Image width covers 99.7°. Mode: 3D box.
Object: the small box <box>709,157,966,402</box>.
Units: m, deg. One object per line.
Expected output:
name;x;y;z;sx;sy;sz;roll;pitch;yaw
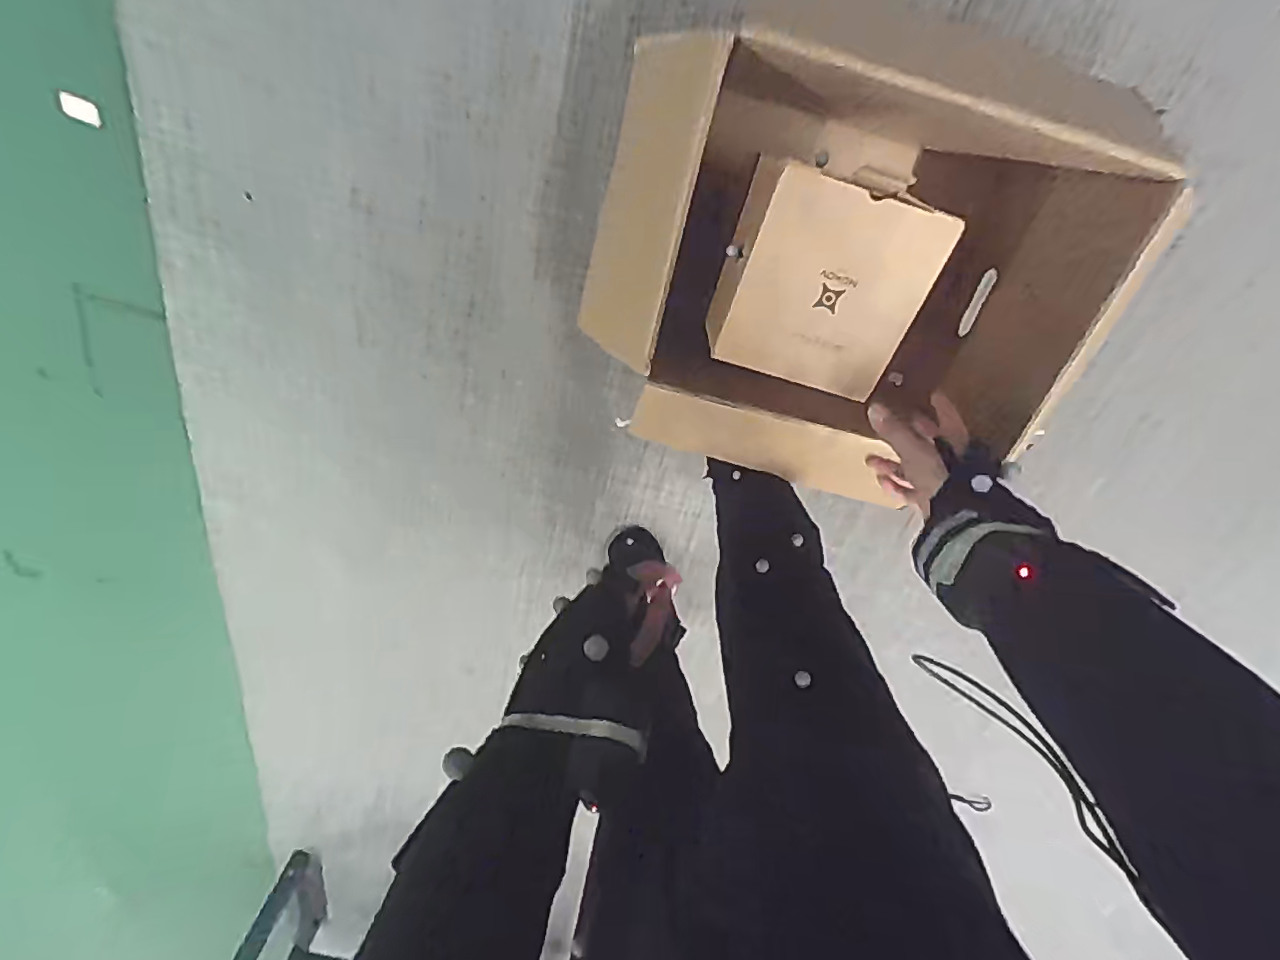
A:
small box;0.177;-0.212;0.556;0.168;0.176;0.179;16;122;-8
